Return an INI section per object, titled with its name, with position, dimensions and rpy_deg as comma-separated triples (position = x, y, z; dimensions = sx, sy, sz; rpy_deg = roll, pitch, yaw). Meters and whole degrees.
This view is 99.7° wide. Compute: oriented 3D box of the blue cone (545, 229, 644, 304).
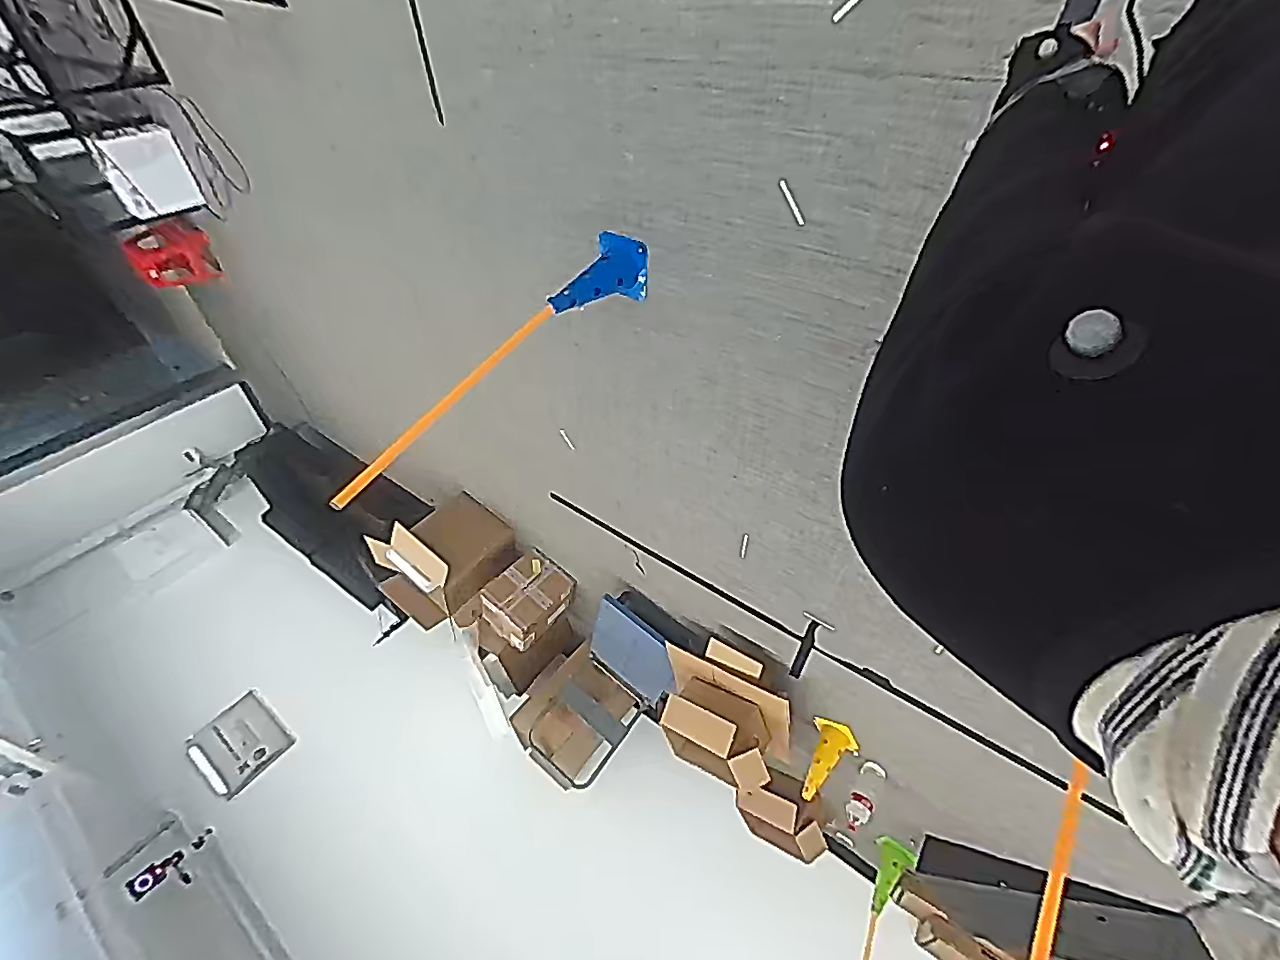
[blue cone]
position = -0.161, -0.639, 1.722
dimensions = 0.193, 0.380, 0.192
rpy_deg = 30, 142, 23

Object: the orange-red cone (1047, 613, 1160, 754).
[orange-red cone]
position = 1.207, 0.571, 1.444
dimensions = 0.198, 0.360, 0.199
rpy_deg = 30, 143, 23
